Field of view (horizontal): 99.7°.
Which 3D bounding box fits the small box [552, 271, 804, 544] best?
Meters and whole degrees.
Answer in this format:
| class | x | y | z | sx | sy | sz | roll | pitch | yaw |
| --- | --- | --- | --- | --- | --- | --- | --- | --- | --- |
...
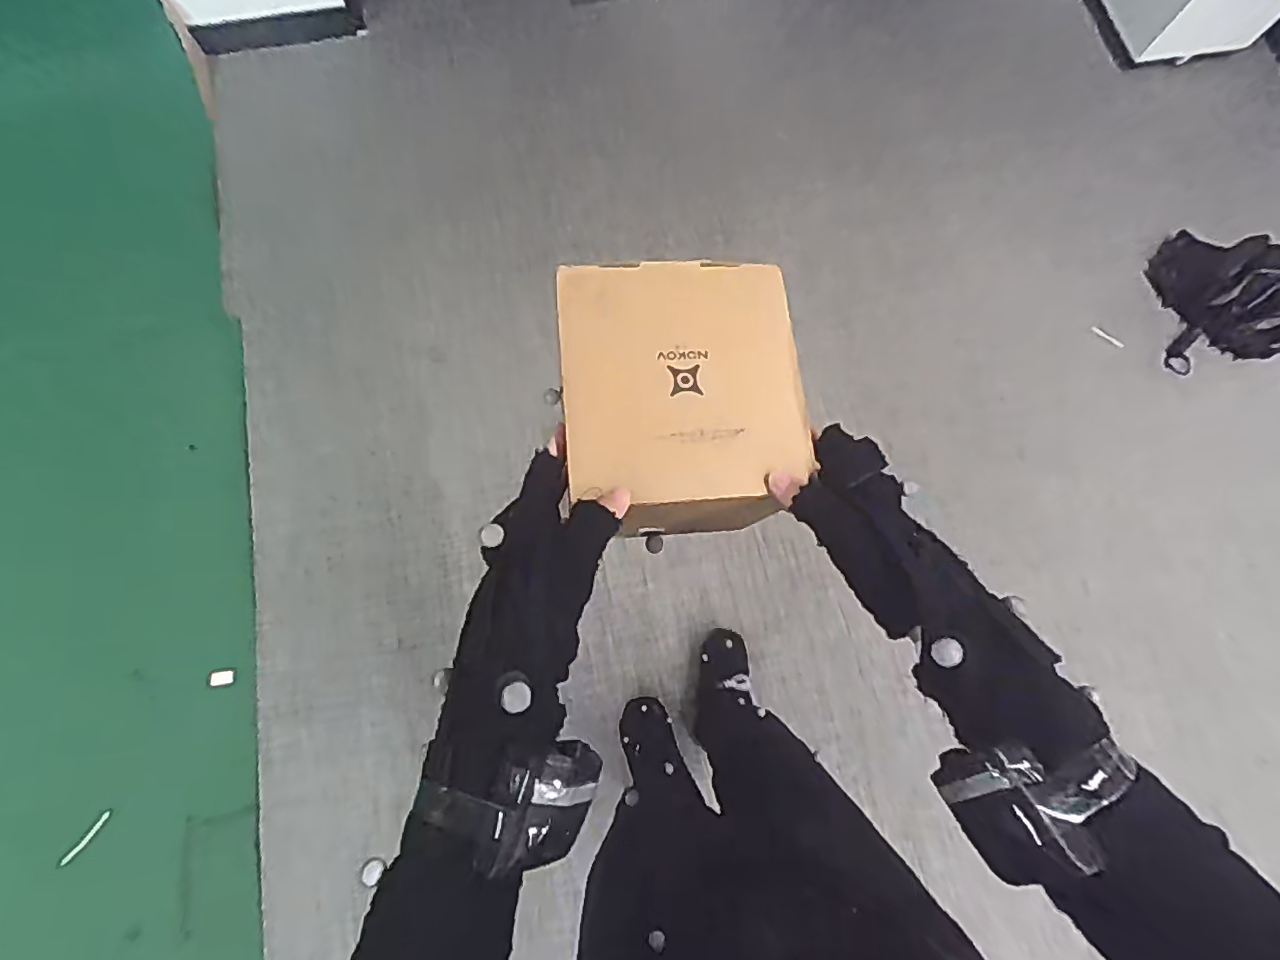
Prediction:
| class | x | y | z | sx | sy | sz | roll | pitch | yaw |
| --- | --- | --- | --- | --- | --- | --- | --- | --- | --- |
| small box | 0.015 | -0.048 | 0.450 | 0.168 | 0.176 | 0.179 | -4 | 77 | -6 |
